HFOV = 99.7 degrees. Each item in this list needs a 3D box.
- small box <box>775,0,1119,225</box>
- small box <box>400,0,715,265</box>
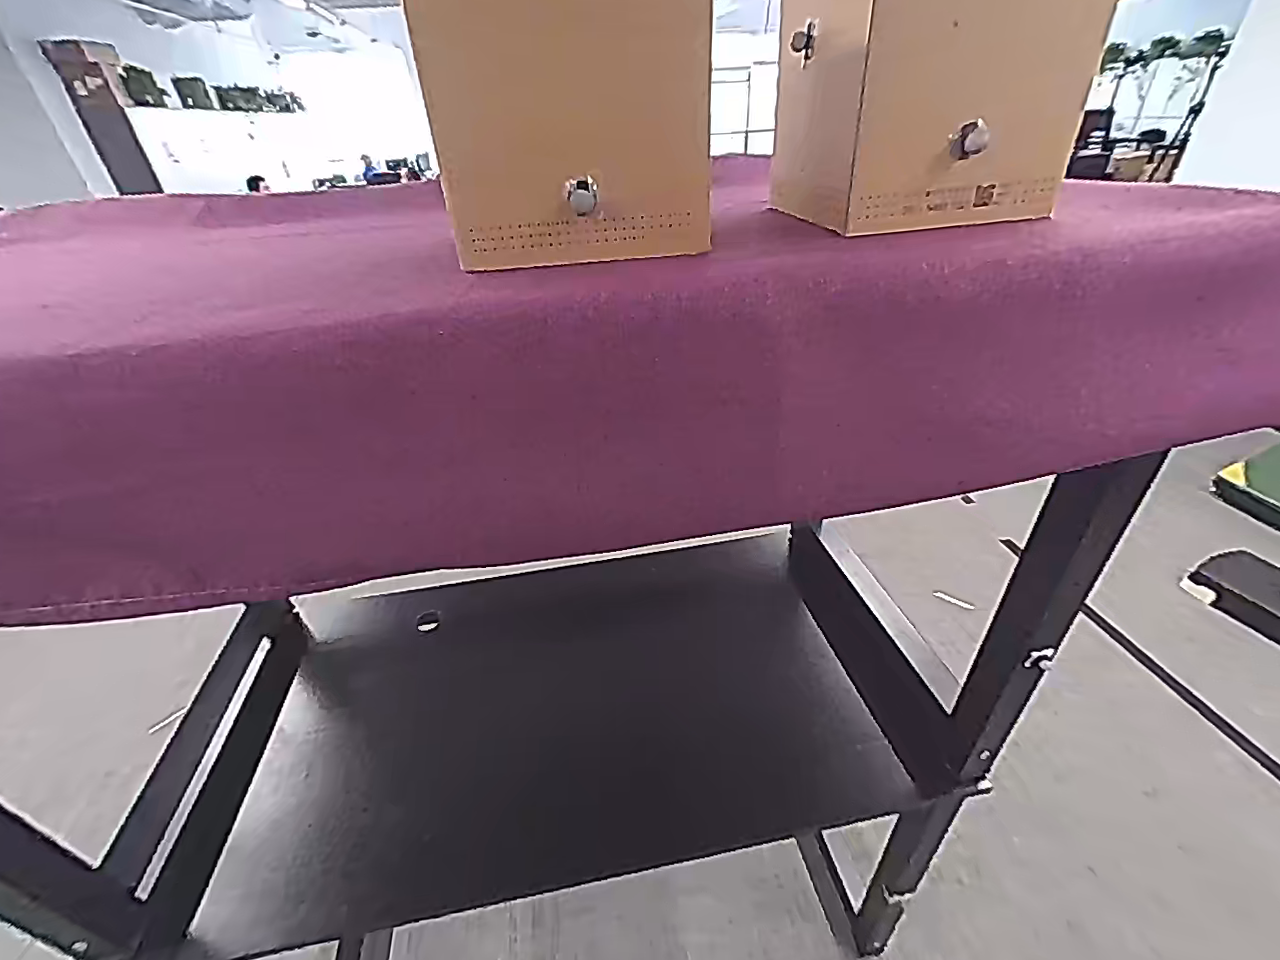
[{"bbox_3d":[0.214,-0.305,0.427,0.168,0.176,0.179,-7,33,-4],"label":"small box"},{"bbox_3d":[-0.050,-0.263,0.393,0.179,0.176,0.168,-6,33,-4],"label":"small box"}]
